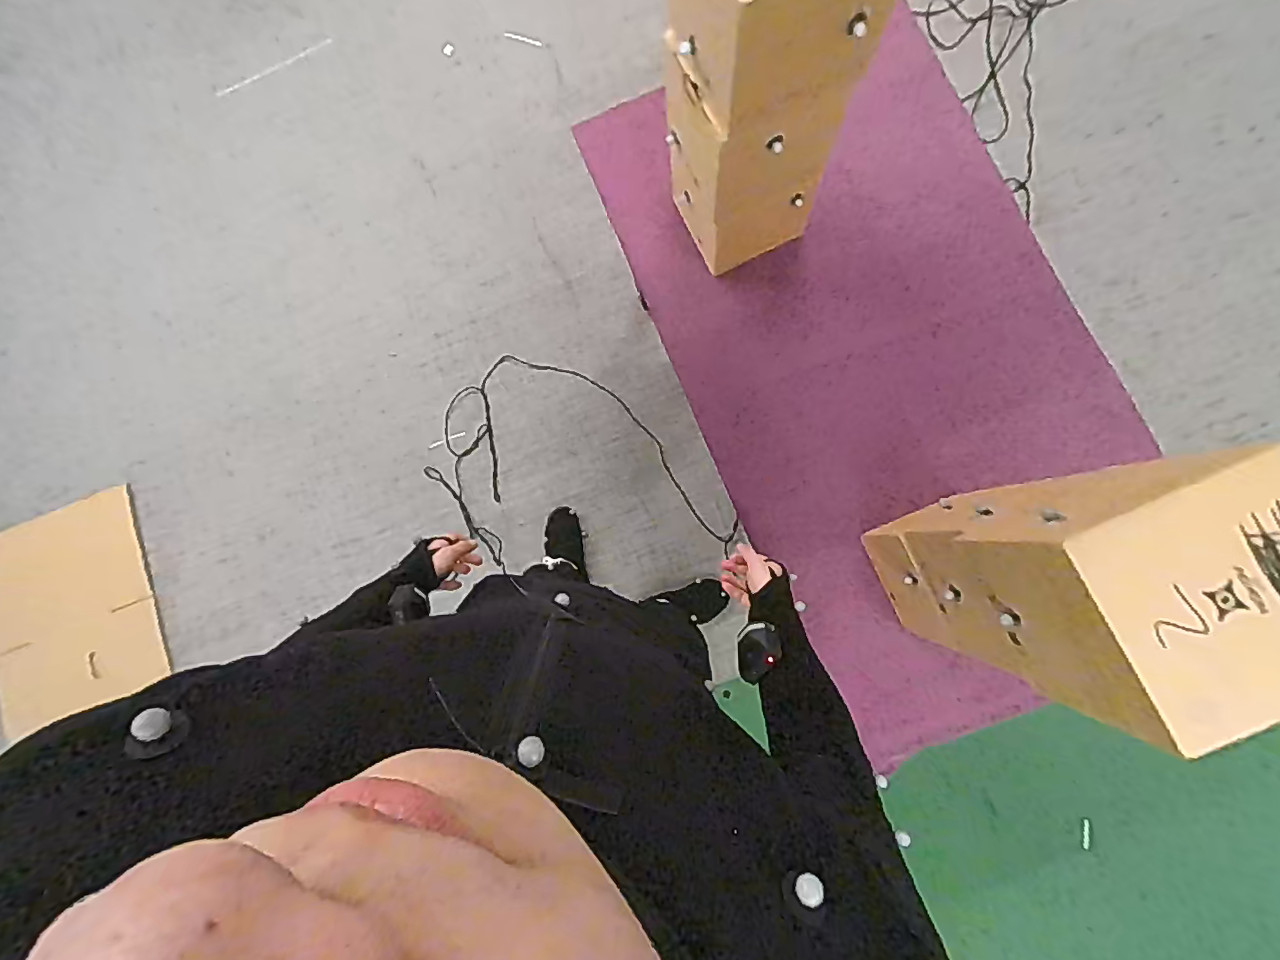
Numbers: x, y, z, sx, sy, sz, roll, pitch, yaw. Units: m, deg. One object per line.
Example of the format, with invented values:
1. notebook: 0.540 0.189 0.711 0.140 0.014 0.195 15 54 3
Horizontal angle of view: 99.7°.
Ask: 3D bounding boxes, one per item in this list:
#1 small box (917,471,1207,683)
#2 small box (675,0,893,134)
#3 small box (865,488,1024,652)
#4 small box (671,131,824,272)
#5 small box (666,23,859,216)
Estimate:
1. small box: 0.447 0.105 0.614 0.179 0.176 0.168 -22 83 2
2. small box: 0.141 -0.503 0.544 0.179 0.176 0.168 -24 82 2
3. small box: 0.461 0.123 0.778 0.179 0.176 0.168 -23 81 2
4. small box: 0.164 -0.470 0.869 0.179 0.176 0.168 -25 82 2
5. small box: 0.148 -0.486 0.706 0.179 0.176 0.168 -24 83 1
